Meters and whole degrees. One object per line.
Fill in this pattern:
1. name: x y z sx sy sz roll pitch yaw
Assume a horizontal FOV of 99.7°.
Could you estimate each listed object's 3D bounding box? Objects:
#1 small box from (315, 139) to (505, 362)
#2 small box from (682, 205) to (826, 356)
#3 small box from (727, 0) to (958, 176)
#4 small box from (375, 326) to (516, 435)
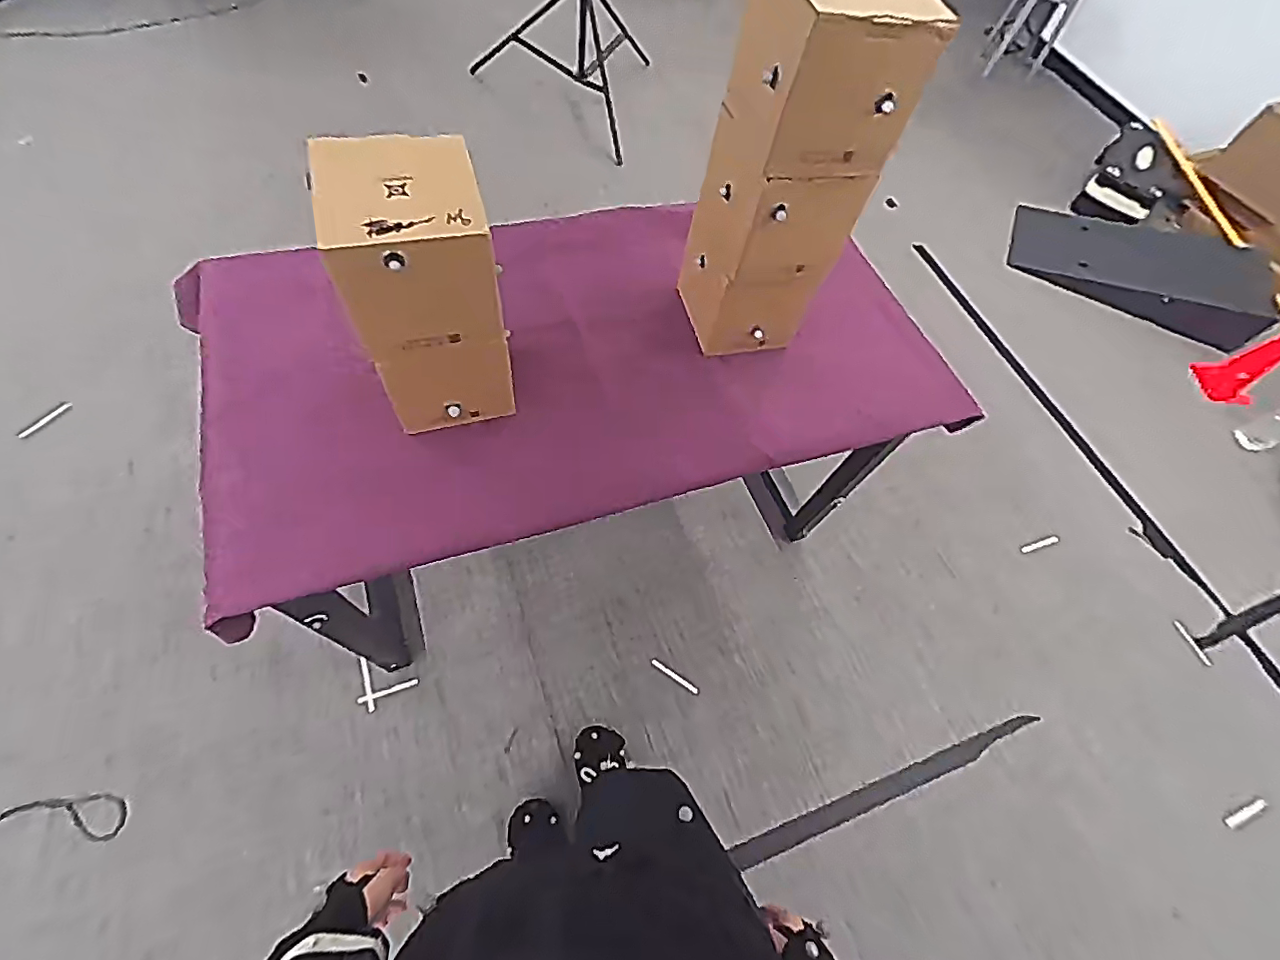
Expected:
1. small box: -0.263 -0.268 0.641 0.168 0.176 0.179 -13 64 -14
2. small box: 0.182 -0.340 0.929 0.168 0.176 0.179 -10 64 -12
3. small box: 0.219 -0.486 0.639 0.168 0.176 0.179 -8 62 -13
4. small box: -0.282 -0.192 0.785 0.168 0.176 0.179 -13 66 -15
